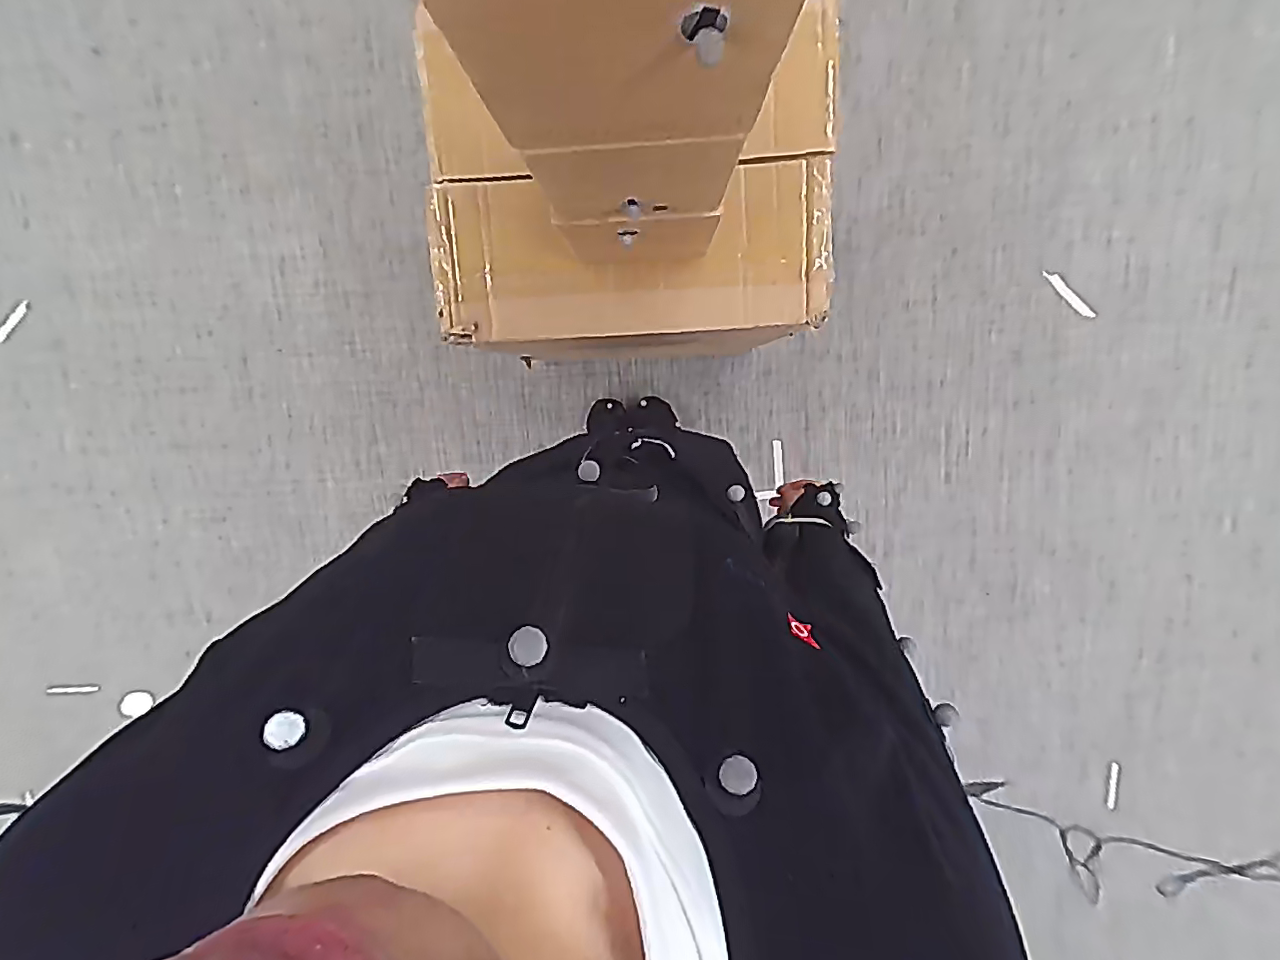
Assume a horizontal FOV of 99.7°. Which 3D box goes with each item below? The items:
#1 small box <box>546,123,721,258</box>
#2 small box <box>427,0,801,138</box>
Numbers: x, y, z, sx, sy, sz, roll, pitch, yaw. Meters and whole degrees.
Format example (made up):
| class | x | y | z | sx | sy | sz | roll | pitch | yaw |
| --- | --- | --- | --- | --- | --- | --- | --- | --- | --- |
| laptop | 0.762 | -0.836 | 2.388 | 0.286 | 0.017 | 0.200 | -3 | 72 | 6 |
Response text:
| class | x | y | z | sx | sy | sz | roll | pitch | yaw |
| --- | --- | --- | --- | --- | --- | --- | --- | --- | --- |
| small box | -0.005 | -0.357 | 0.611 | 0.179 | 0.176 | 0.168 | -2 | 100 | 2 |
| small box | -0.012 | -0.308 | 0.286 | 0.179 | 0.176 | 0.168 | -2 | 100 | 2 |
